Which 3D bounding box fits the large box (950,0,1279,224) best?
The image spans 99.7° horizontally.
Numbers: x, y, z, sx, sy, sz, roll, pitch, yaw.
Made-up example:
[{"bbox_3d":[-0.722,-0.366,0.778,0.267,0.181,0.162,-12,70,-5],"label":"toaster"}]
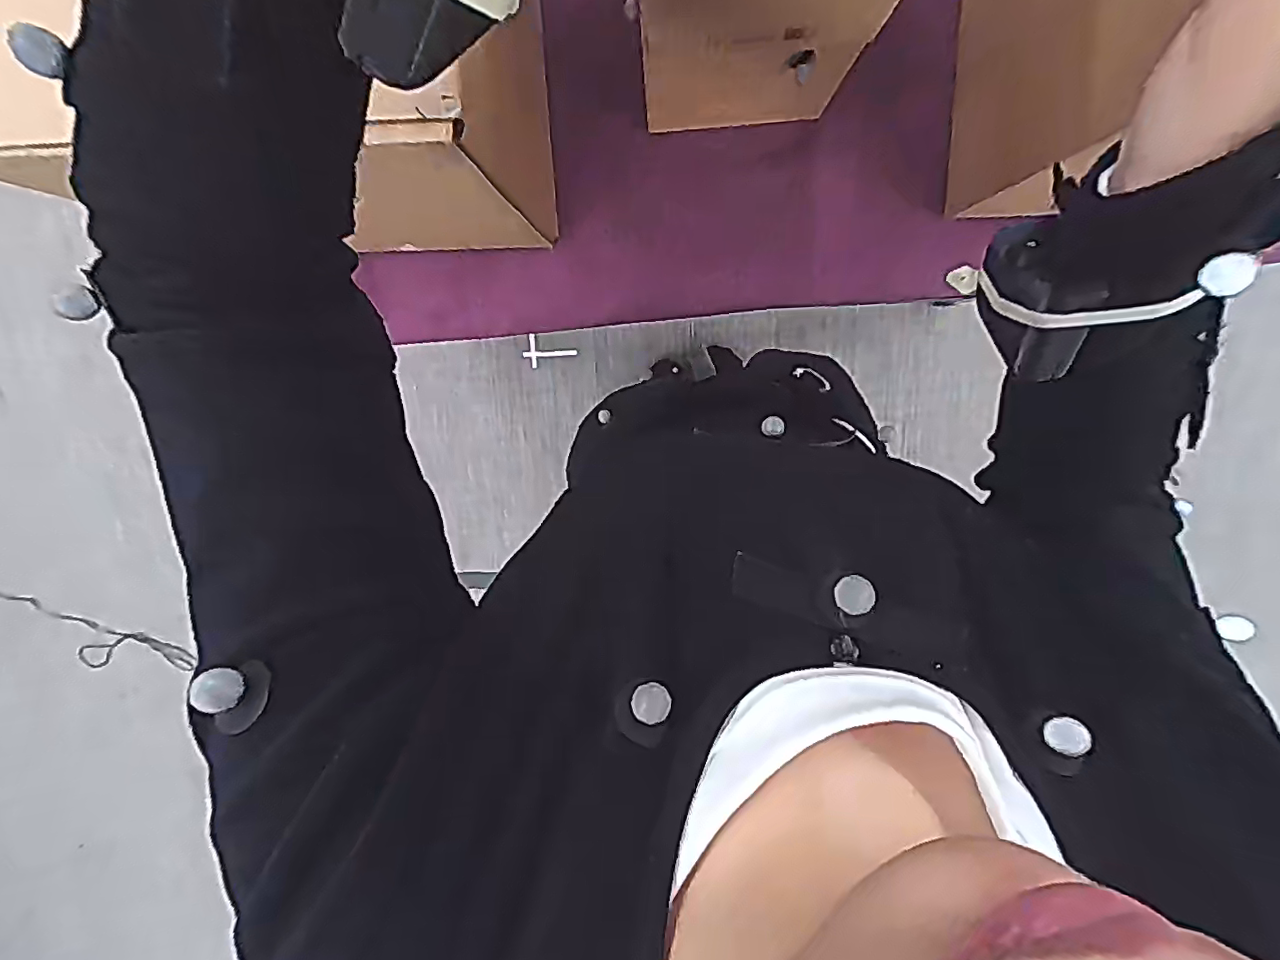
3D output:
[{"bbox_3d":[0.446,-0.435,0.365,0.320,0.320,0.408,-2,101,3],"label":"large box"}]
